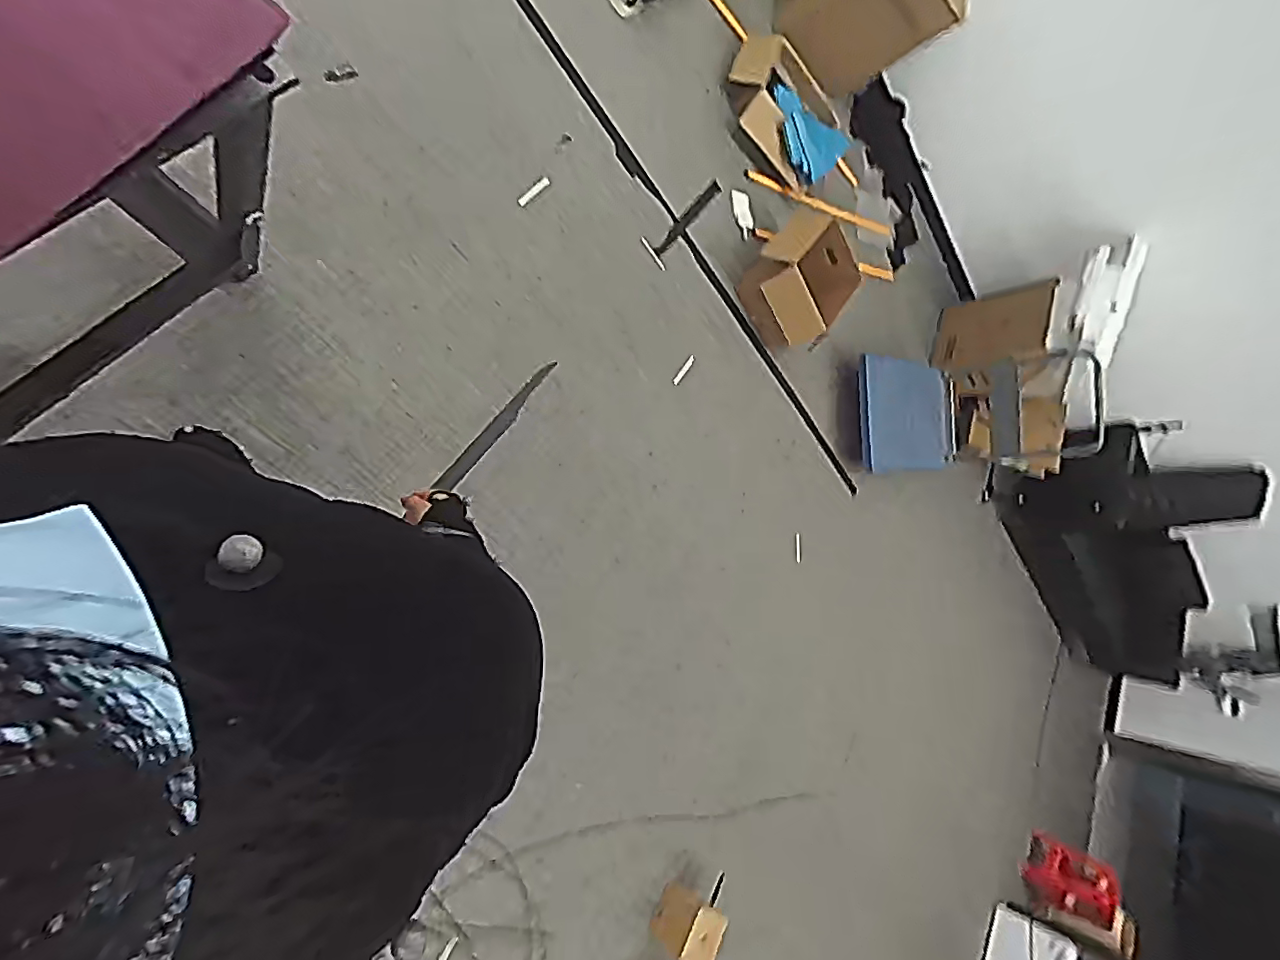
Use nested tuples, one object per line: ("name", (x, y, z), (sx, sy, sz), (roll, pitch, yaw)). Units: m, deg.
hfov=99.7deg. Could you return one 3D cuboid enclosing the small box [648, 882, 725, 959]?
("small box", (0.159, 1.557, 1.895), (0.179, 0.176, 0.168), (46, 62, -28))
